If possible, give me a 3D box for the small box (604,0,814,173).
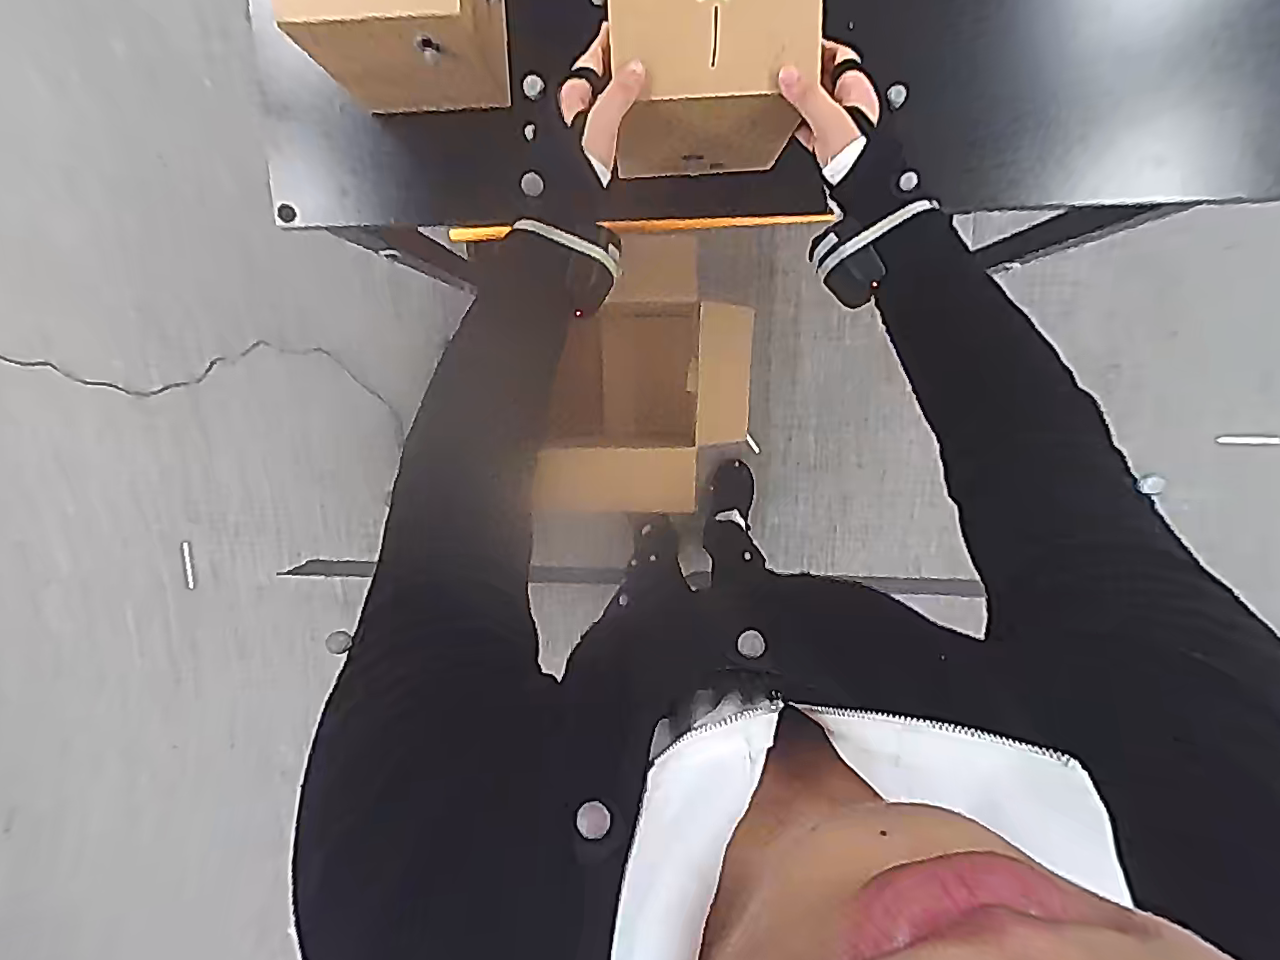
[{"bbox_3d":[0.051,-0.408,0.494,0.168,0.176,0.179,-3,101,0],"label":"small box"}]

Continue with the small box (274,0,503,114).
[{"bbox_3d":[-0.247,-0.509,0.558,0.179,0.176,0.168,-1,99,2],"label":"small box"}]
